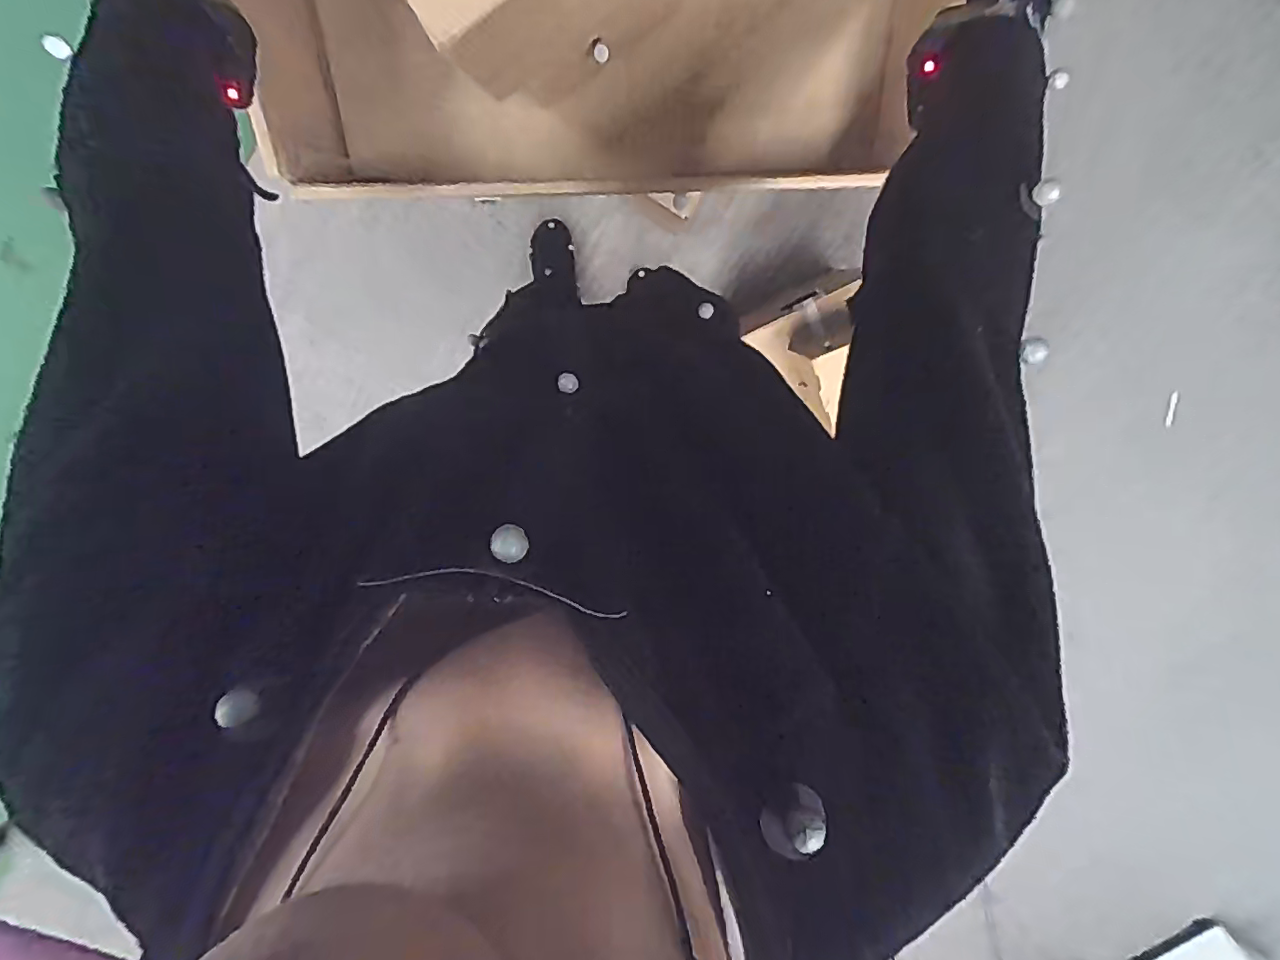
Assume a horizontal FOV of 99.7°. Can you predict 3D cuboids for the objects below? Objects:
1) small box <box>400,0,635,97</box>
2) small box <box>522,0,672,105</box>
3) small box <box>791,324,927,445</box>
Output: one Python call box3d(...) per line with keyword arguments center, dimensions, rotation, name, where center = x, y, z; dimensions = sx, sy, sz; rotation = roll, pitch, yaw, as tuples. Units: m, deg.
box3d(center=(-0.084, -0.374, 0.323), dimensions=(0.179, 0.176, 0.168), rotation=(-28, 113, 12), name="small box")
box3d(center=(-0.072, -0.463, 0.464), dimensions=(0.179, 0.176, 0.168), rotation=(-30, 114, 12), name="small box")
box3d(center=(0.414, -0.191, 1.042), dimensions=(0.179, 0.176, 0.168), rotation=(-20, 108, 8), name="small box")
